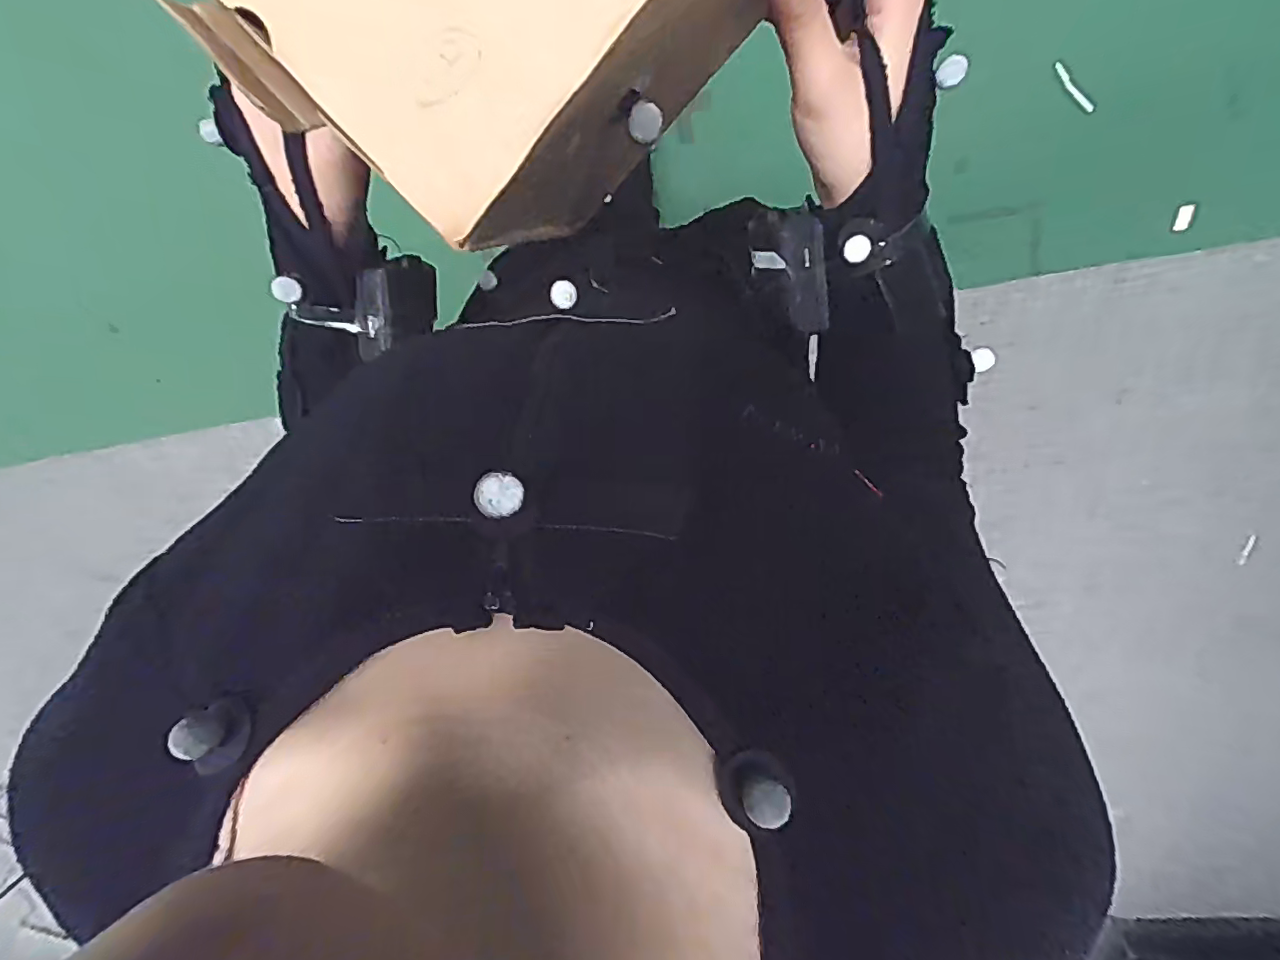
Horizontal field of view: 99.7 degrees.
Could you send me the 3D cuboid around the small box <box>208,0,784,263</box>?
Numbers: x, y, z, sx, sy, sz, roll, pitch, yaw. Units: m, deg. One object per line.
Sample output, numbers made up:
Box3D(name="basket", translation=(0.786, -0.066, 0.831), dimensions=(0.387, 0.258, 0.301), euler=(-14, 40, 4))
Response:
Box3D(name="small box", translation=(-0.044, -0.218, 0.222), dimensions=(0.179, 0.176, 0.168), euler=(-40, 104, 23))
